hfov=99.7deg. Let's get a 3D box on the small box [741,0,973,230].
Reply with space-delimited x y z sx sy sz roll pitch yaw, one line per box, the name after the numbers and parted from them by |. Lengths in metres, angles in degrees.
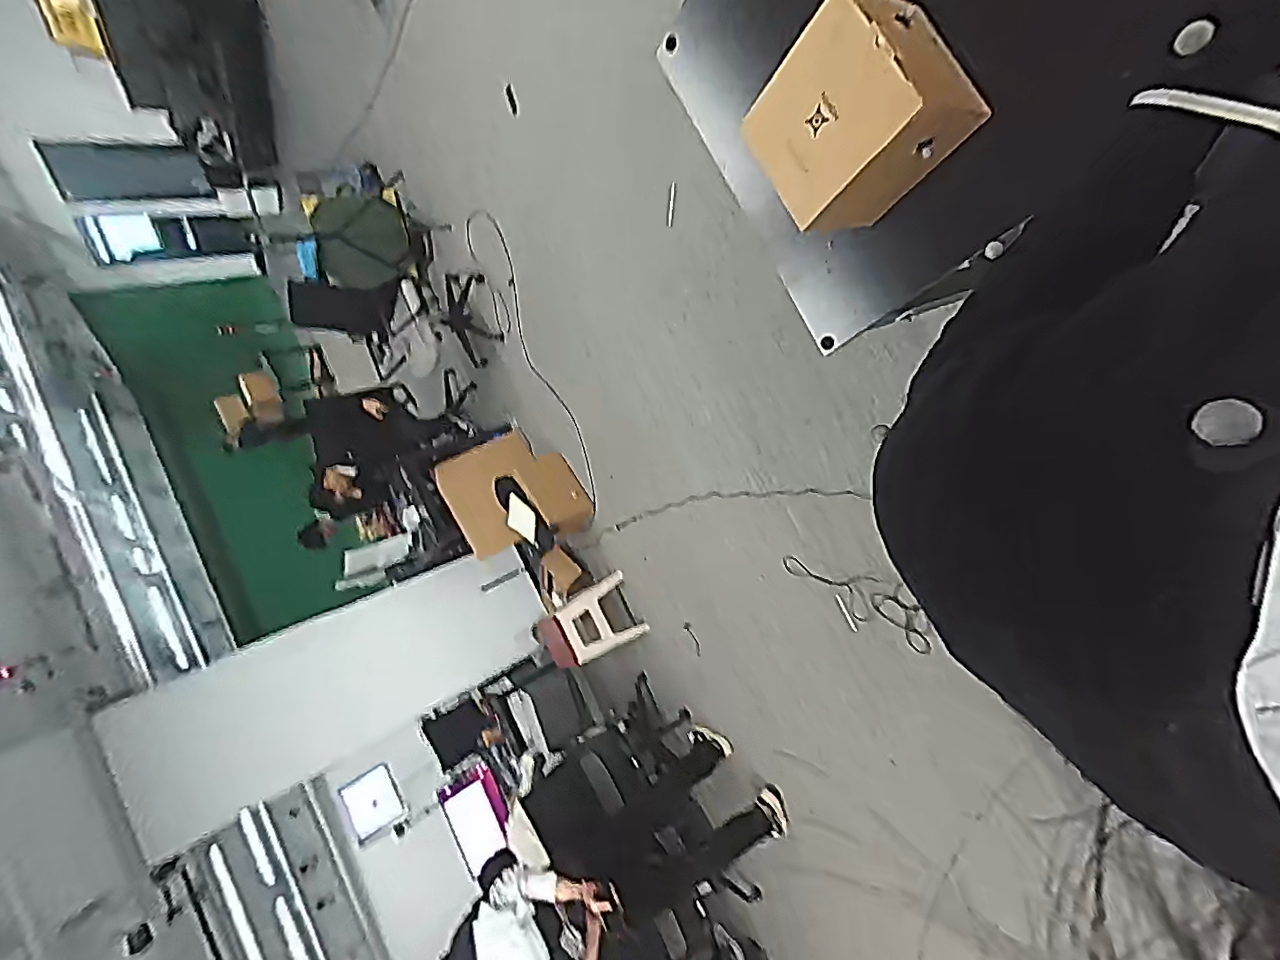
0.264 -0.434 0.653 0.168 0.176 0.179 63 146 8 | small box
